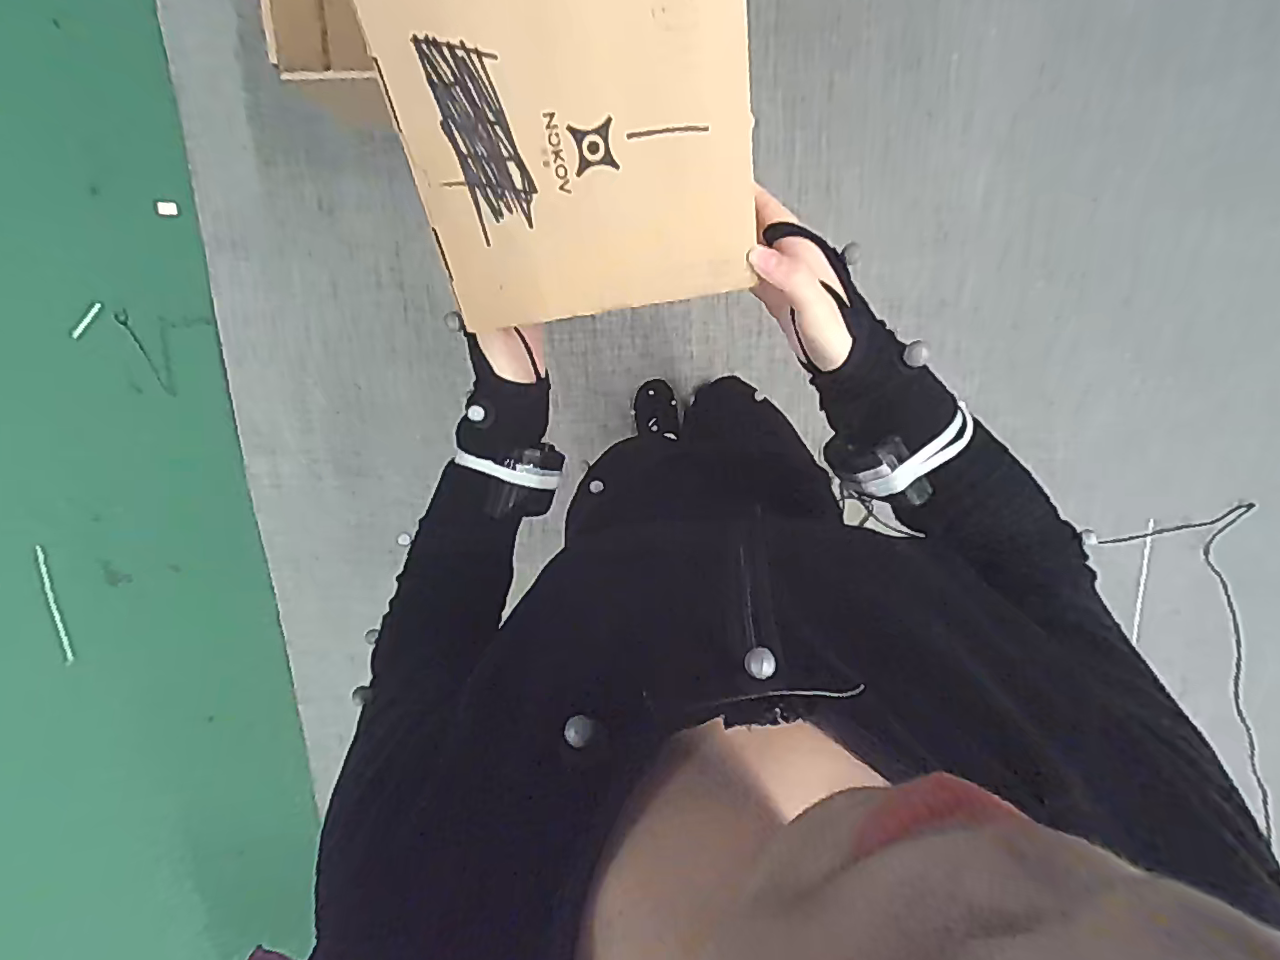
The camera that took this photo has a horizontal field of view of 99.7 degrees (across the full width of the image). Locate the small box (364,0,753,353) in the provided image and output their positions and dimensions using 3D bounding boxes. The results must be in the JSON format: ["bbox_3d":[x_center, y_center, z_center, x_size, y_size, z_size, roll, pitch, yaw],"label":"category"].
[{"bbox_3d":[-0.031,-0.198,0.350,0.179,0.176,0.168,-8,122,5],"label":"small box"}]
